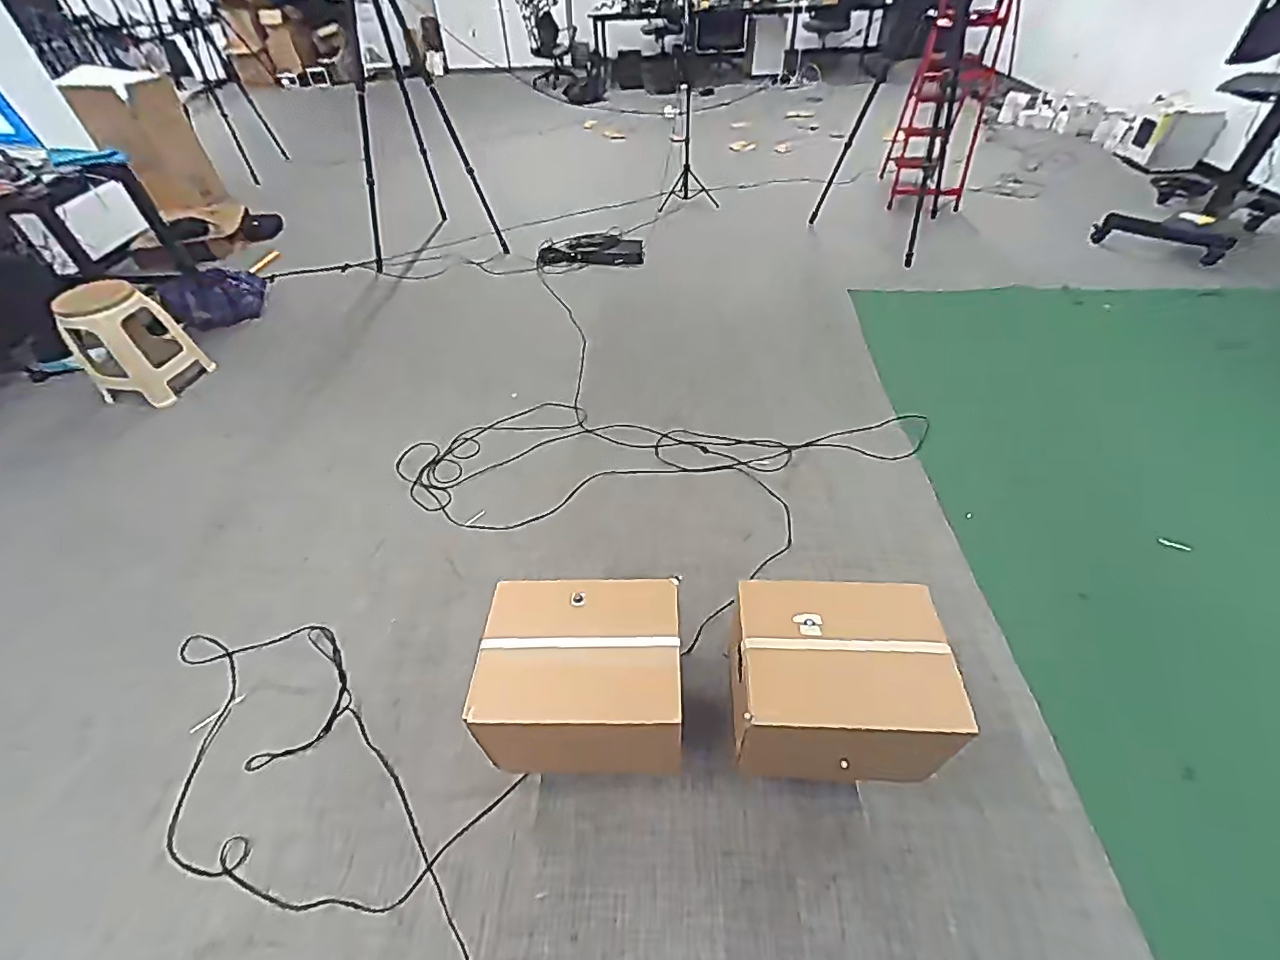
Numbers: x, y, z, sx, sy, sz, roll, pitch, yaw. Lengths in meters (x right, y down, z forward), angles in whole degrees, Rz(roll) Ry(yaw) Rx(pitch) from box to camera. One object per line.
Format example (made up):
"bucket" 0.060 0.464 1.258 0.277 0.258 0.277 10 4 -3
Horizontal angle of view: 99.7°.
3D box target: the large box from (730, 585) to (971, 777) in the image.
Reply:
"large box" 0.418 0.445 1.196 0.408 0.320 0.320 0 46 4
